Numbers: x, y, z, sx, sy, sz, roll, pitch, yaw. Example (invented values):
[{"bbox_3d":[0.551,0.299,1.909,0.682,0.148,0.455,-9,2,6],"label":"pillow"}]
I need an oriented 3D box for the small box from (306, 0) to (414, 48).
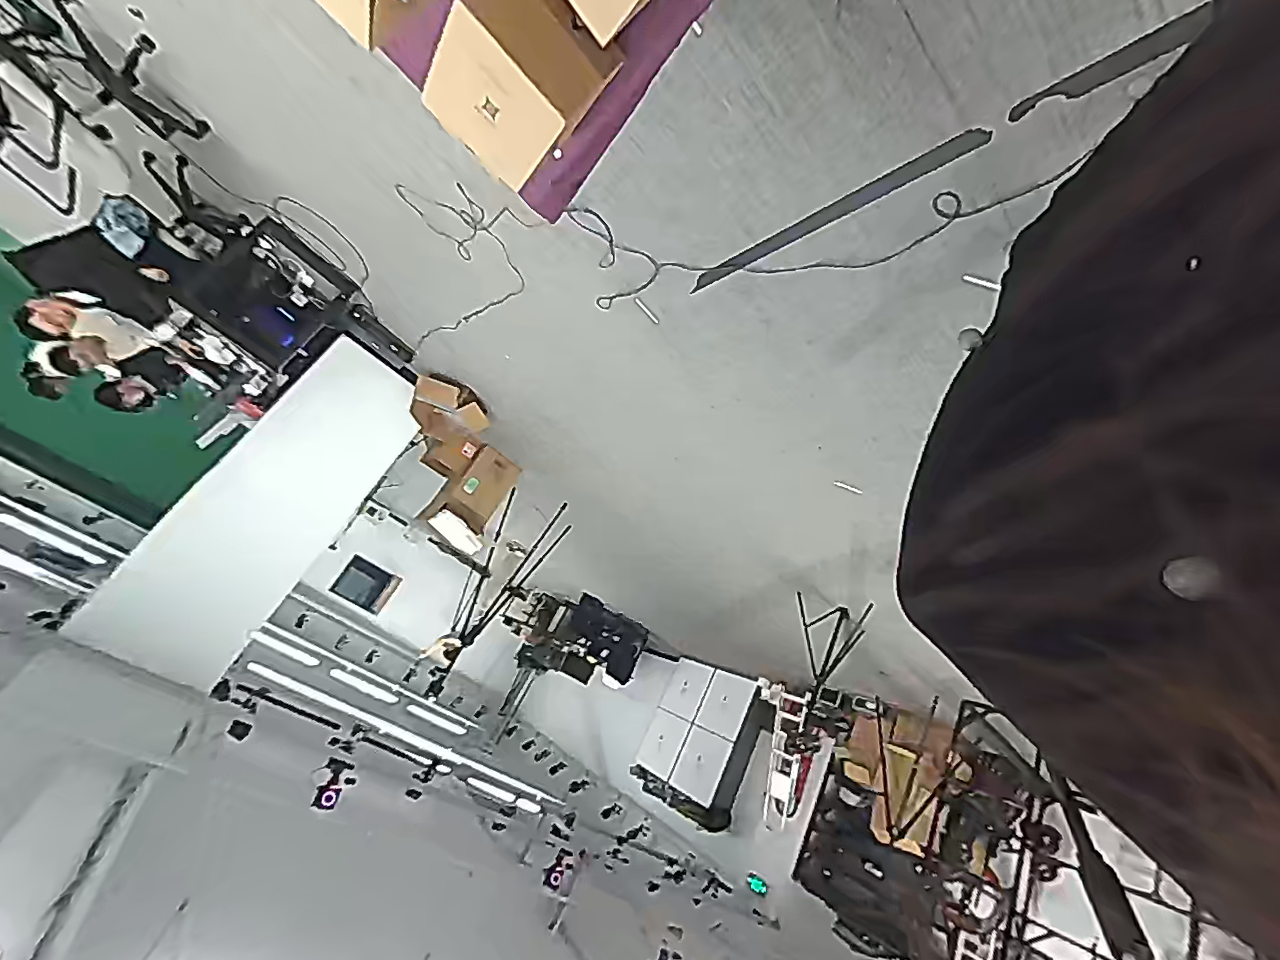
[{"bbox_3d":[-0.342,-0.678,0.629,0.168,0.176,0.179,39,155,-24],"label":"small box"}]

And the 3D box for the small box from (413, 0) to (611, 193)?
[{"bbox_3d":[-0.167,-0.539,0.722,0.168,0.176,0.179,40,155,-25],"label":"small box"}]
